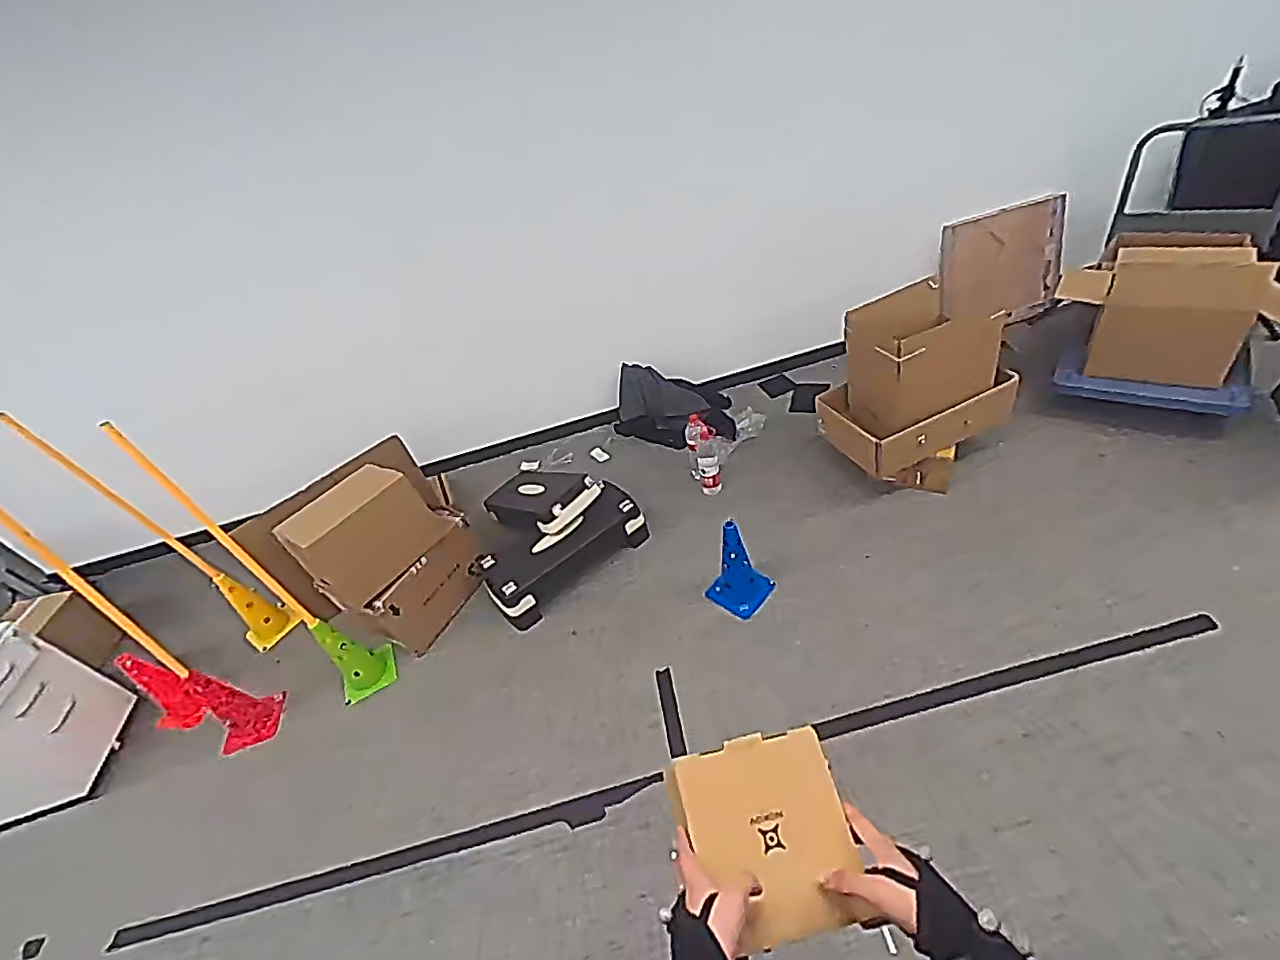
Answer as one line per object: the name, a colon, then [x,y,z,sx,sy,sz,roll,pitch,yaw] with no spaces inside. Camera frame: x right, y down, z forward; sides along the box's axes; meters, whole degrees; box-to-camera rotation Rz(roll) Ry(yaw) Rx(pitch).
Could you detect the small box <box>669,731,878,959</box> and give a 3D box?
small box: [0.133,0.407,0.615,0.168,0.176,0.179,-10,56,-7]
